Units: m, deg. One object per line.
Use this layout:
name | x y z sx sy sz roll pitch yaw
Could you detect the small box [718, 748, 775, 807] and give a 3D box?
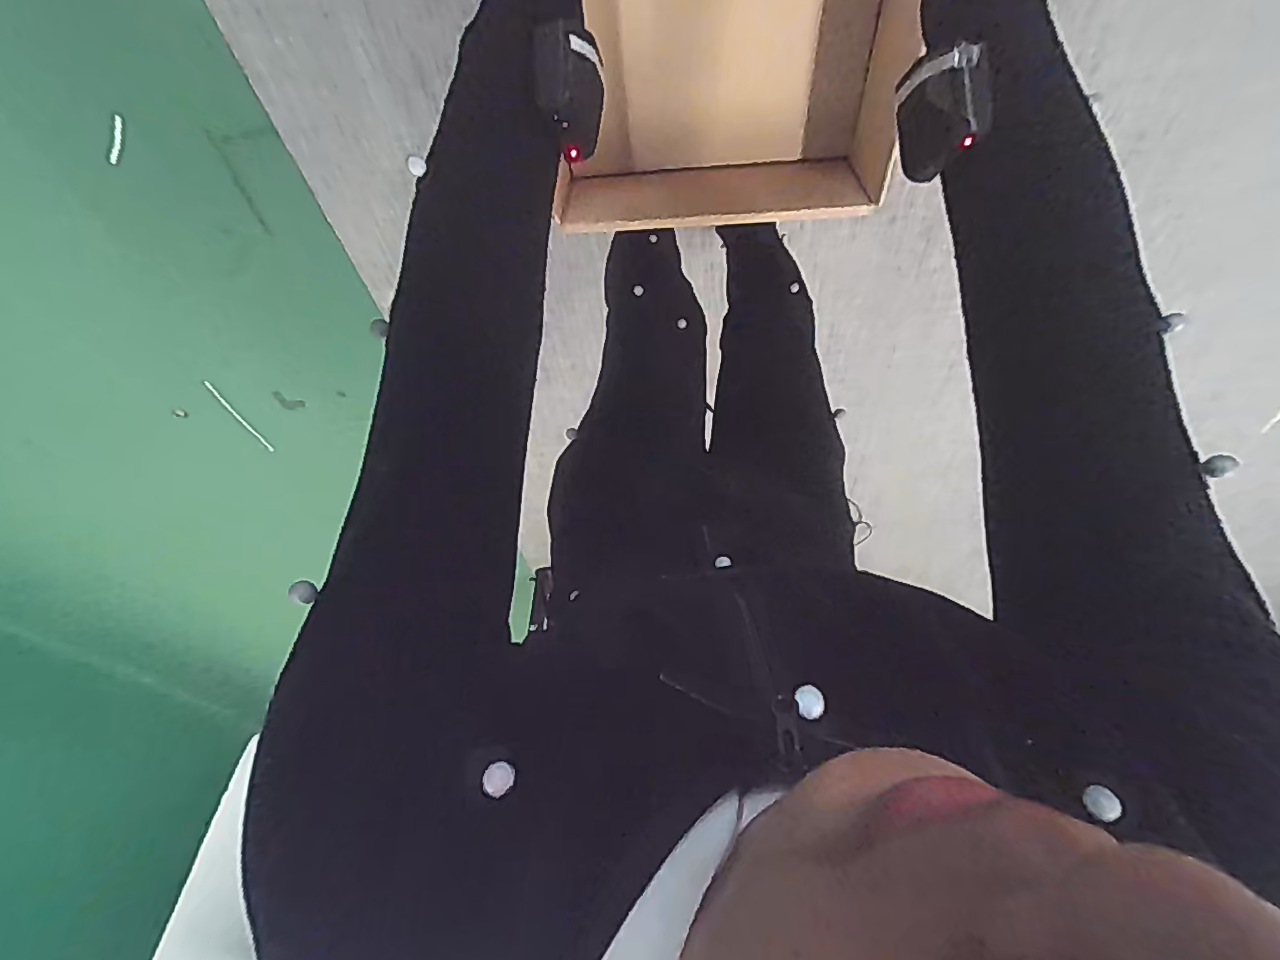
small box | 0.394 1.108 2.011 0.179 0.176 0.168 -13 140 17
